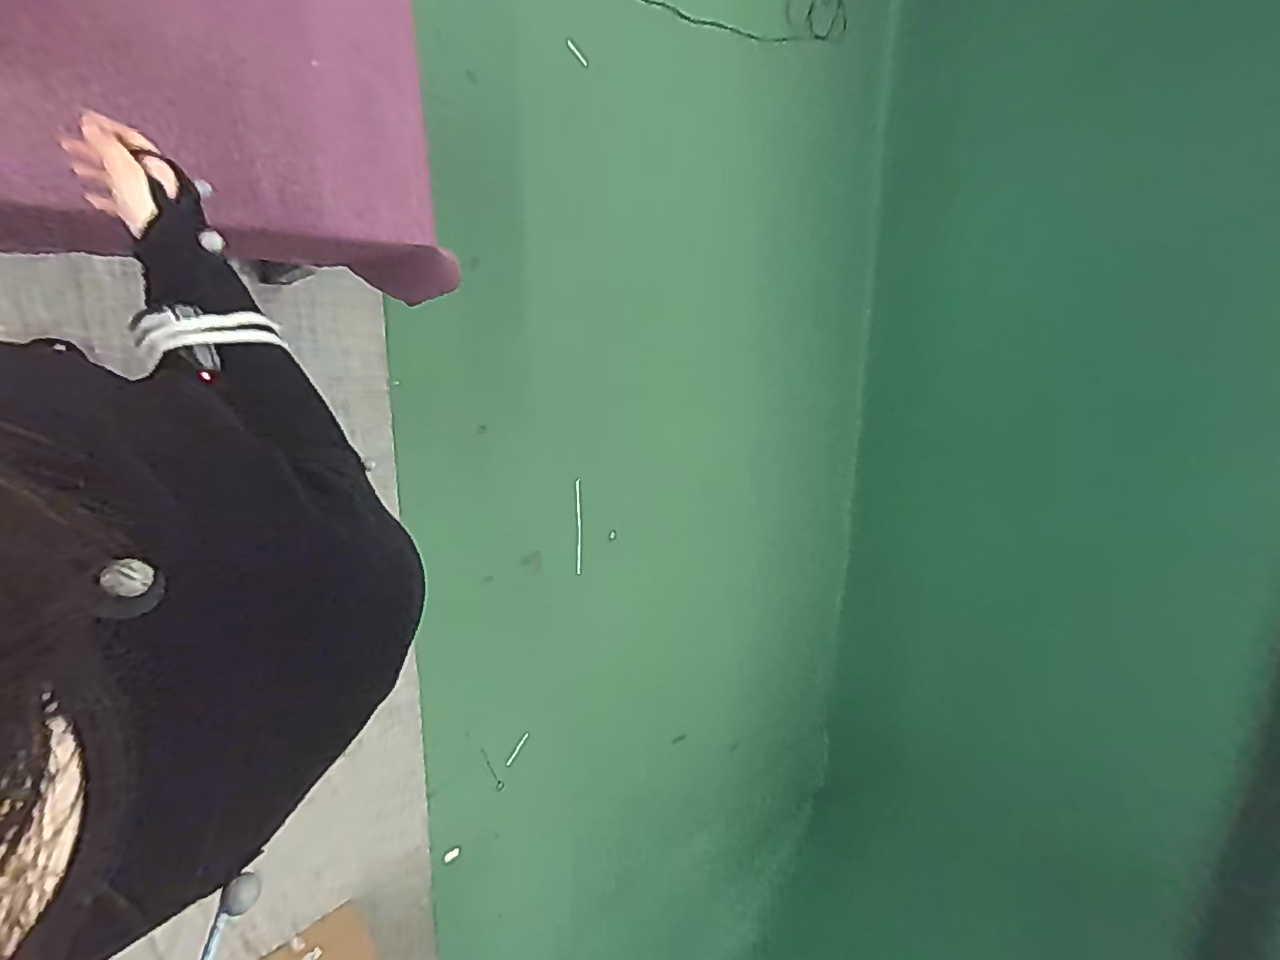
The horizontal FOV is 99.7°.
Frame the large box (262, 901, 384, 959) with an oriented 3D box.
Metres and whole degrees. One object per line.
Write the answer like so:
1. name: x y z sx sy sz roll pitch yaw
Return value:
1. large box: -0.858 1.489 1.459 0.320 0.320 0.408 -14 110 -44
